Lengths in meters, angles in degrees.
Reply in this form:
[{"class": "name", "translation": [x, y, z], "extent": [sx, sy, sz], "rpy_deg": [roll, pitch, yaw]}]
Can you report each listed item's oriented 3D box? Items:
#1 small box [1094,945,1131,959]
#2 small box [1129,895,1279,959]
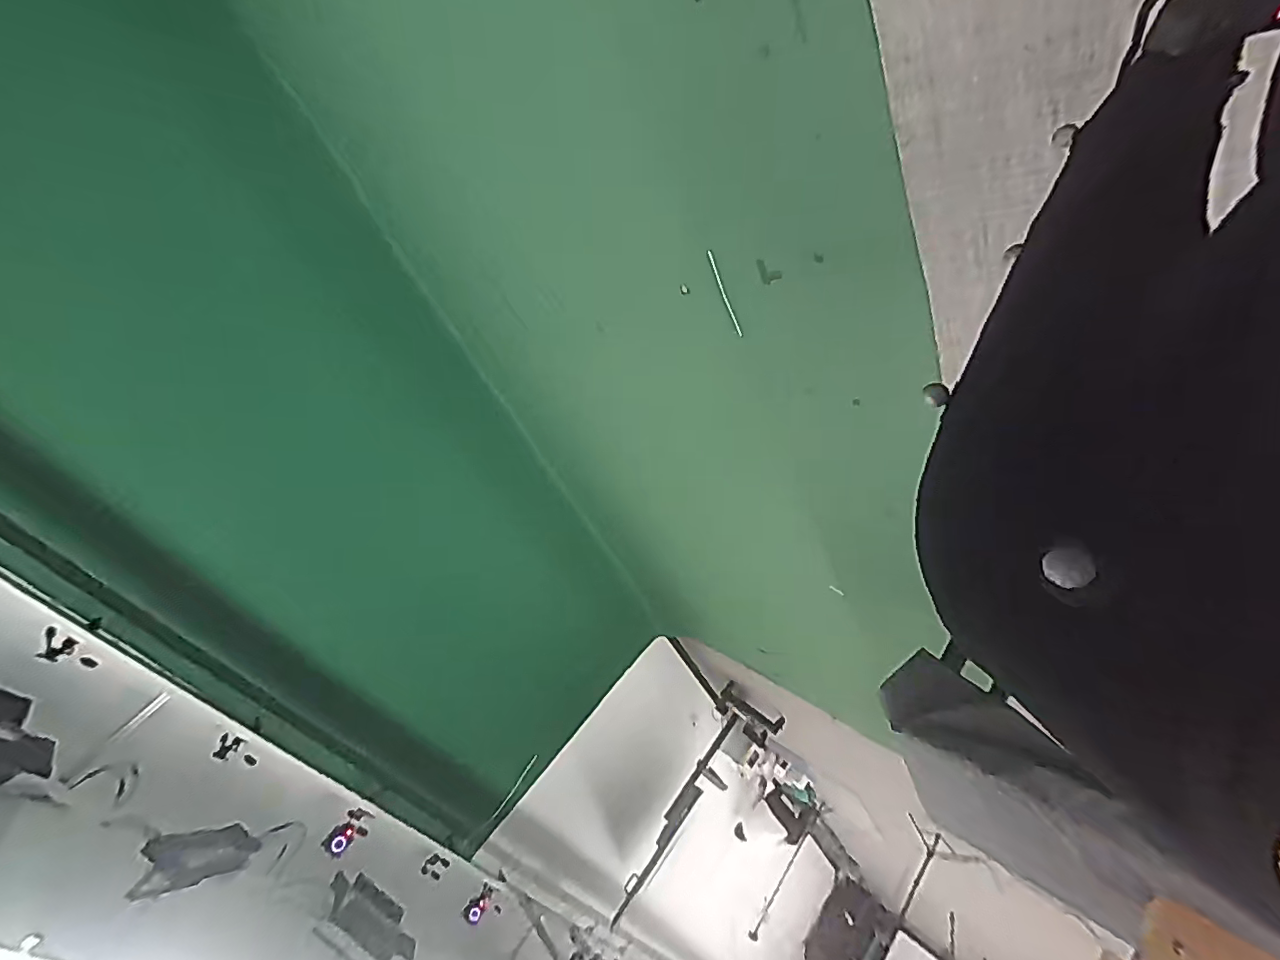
[{"class": "small box", "translation": [1.014, 1.110, 1.103], "extent": [0.168, 0.176, 0.179], "rpy_deg": [20, 148, 46]}, {"class": "small box", "translation": [1.144, 0.996, 1.108], "extent": [0.179, 0.176, 0.168], "rpy_deg": [20, 149, 44]}]
